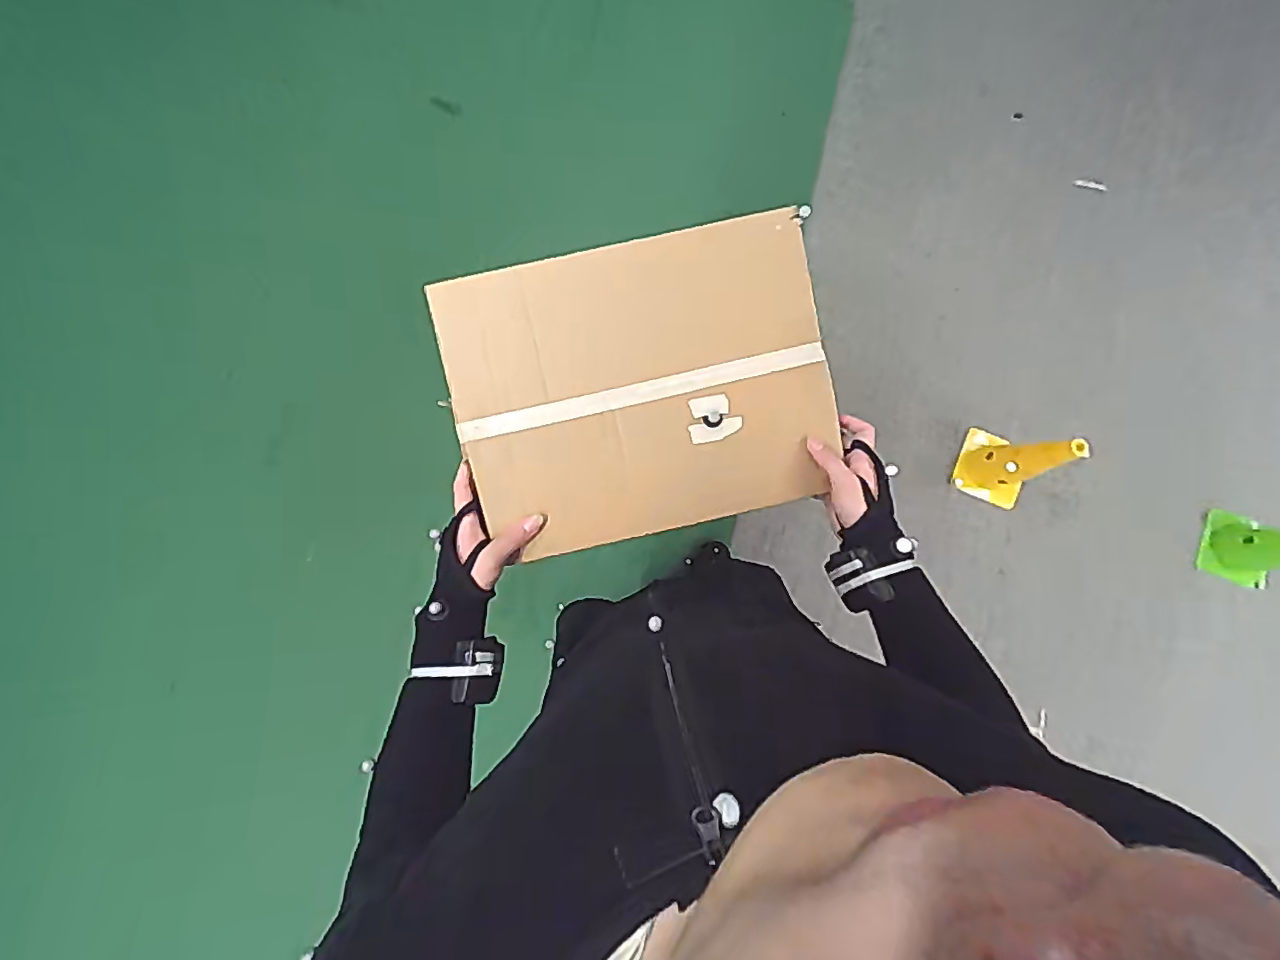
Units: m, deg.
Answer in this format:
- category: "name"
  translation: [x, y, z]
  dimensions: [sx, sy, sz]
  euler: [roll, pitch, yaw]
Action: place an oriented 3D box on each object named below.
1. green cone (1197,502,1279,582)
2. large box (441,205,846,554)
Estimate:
- category: "green cone"
  translation: [1.778, 0.161, 1.445]
  dimensions: [0.202, 0.368, 0.200]
  euler: [19, 83, 5]
- category: "large box"
  translation: [0.003, -0.120, 0.742]
  dimensions: [0.408, 0.320, 0.320]
  euler: [-12, 97, -2]
